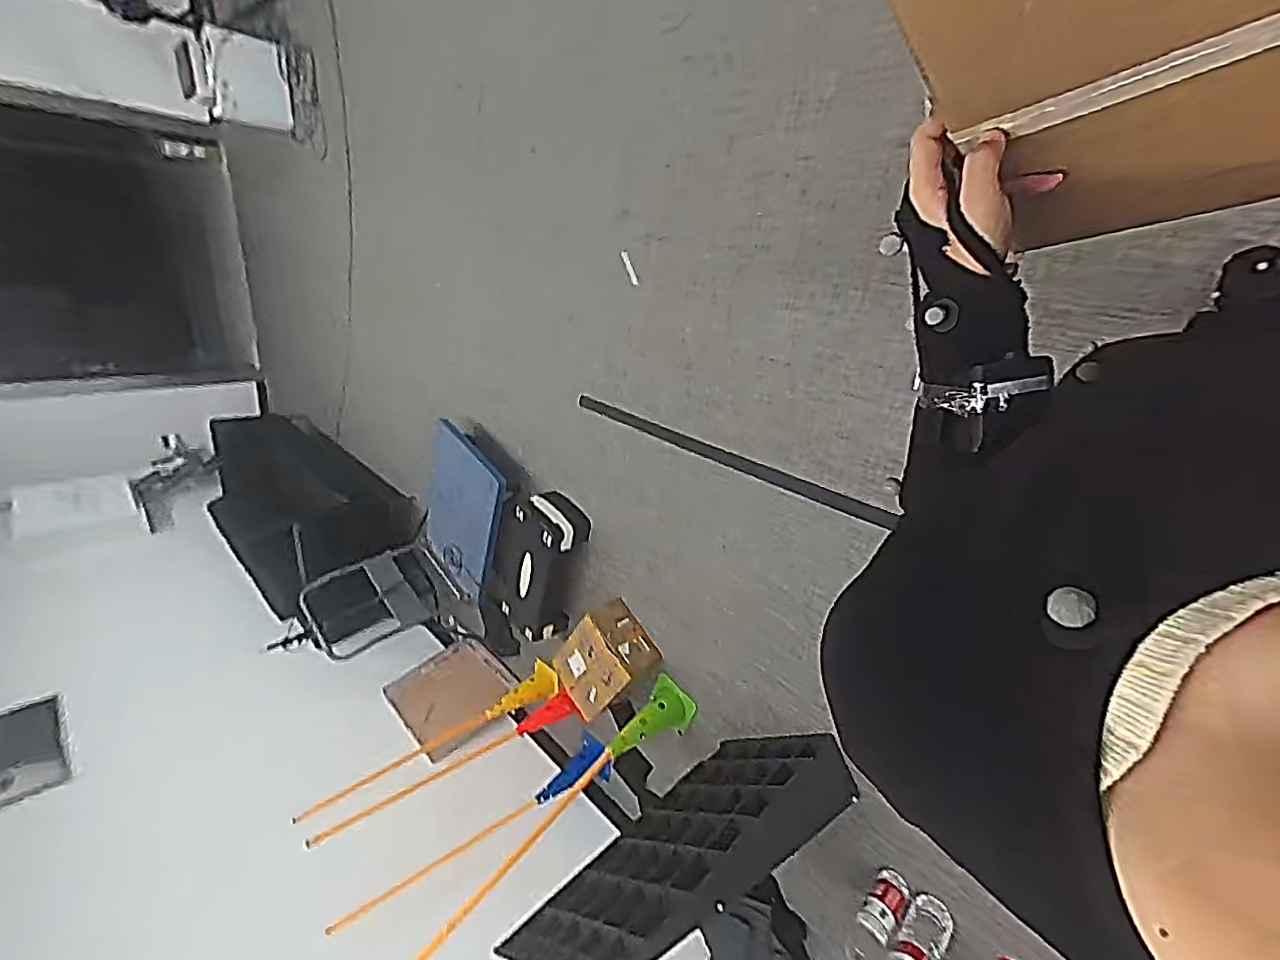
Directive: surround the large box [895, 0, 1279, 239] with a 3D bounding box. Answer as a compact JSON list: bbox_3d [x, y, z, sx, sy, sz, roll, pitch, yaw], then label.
[{"bbox_3d":[0.364,-0.368,0.222,0.408,0.320,0.320,3,83,47],"label":"large box"}]
